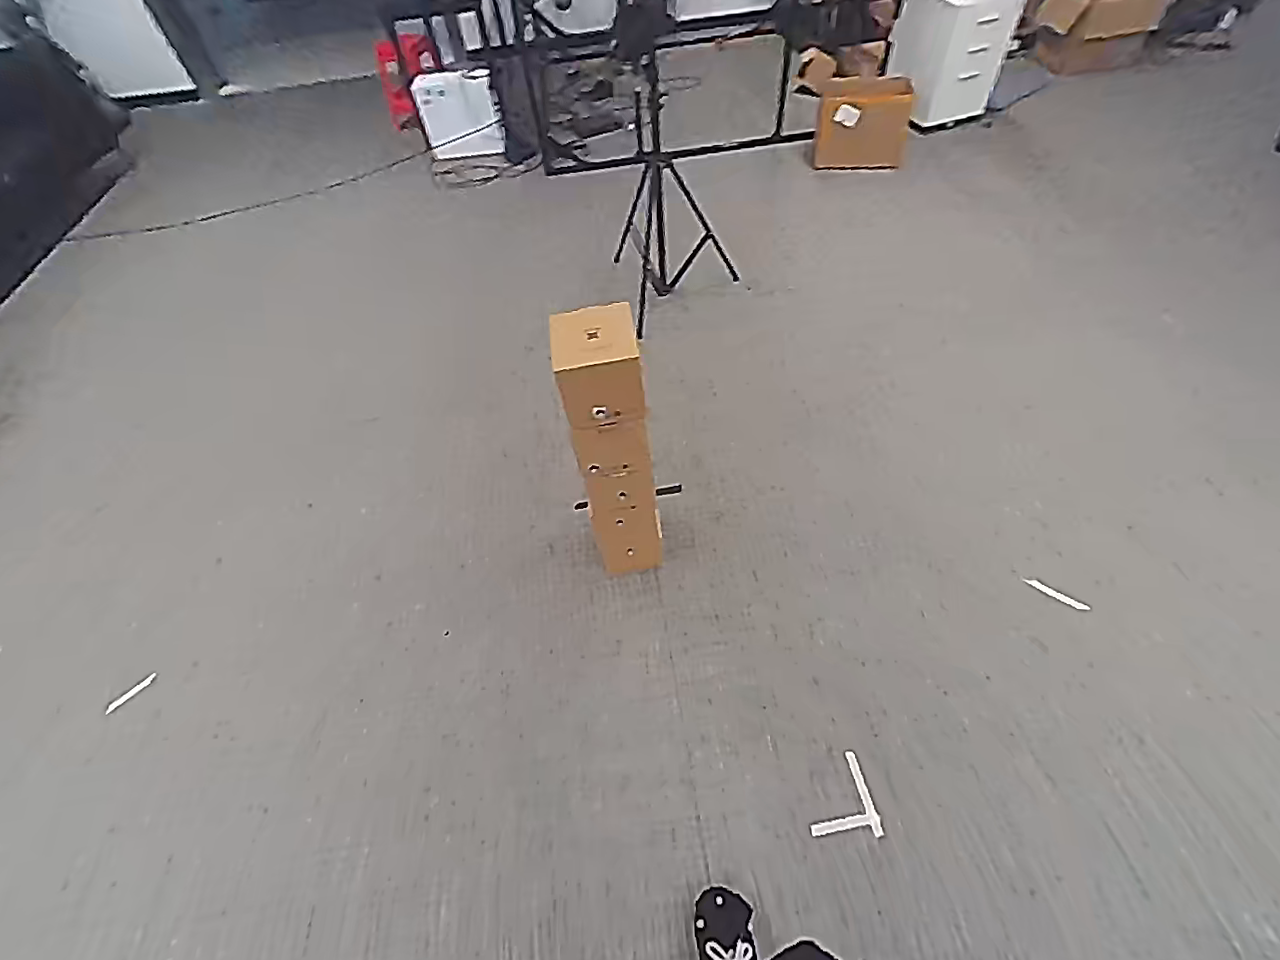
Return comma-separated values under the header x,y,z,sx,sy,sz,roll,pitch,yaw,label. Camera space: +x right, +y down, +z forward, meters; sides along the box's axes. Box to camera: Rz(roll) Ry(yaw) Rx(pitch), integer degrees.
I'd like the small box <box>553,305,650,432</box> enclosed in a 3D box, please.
x,y,z,sx,sy,sz,roll,pitch,yaw,label
-0.077,-0.224,1.101,0.168,0.176,0.179,-10,54,0,small box

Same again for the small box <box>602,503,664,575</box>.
x,y,z,sx,sy,sz,roll,pitch,yaw,label
-0.023,0.168,1.622,0.179,0.176,0.168,-9,53,0,small box

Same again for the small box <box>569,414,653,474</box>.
x,y,z,sx,sy,sz,roll,pitch,yaw,label
-0.066,-0.127,1.230,0.168,0.176,0.179,-8,52,0,small box

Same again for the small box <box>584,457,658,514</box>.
x,y,z,sx,sy,sz,roll,pitch,yaw,label
-0.048,-0.027,1.360,0.168,0.176,0.179,-7,54,1,small box

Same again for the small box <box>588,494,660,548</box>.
x,y,z,sx,sy,sz,roll,pitch,yaw,label
-0.043,0.074,1.489,0.179,0.176,0.168,-7,54,1,small box
